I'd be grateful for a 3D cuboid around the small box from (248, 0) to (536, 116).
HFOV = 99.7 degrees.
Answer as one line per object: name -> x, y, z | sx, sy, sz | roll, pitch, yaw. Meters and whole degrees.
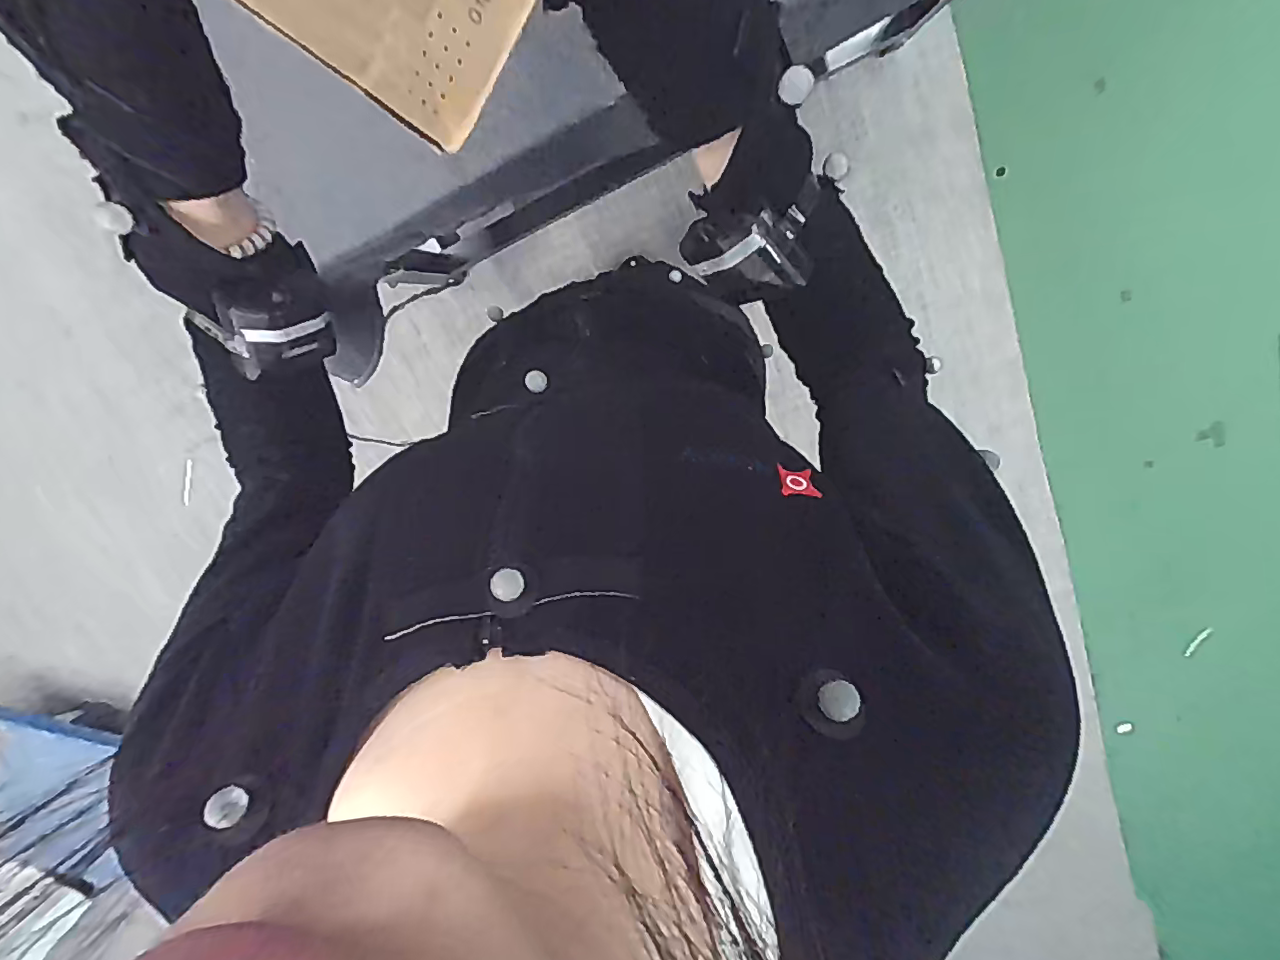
small box -> -0.118, -0.246, 0.142 | 0.179, 0.176, 0.168 | 39, 106, 13
